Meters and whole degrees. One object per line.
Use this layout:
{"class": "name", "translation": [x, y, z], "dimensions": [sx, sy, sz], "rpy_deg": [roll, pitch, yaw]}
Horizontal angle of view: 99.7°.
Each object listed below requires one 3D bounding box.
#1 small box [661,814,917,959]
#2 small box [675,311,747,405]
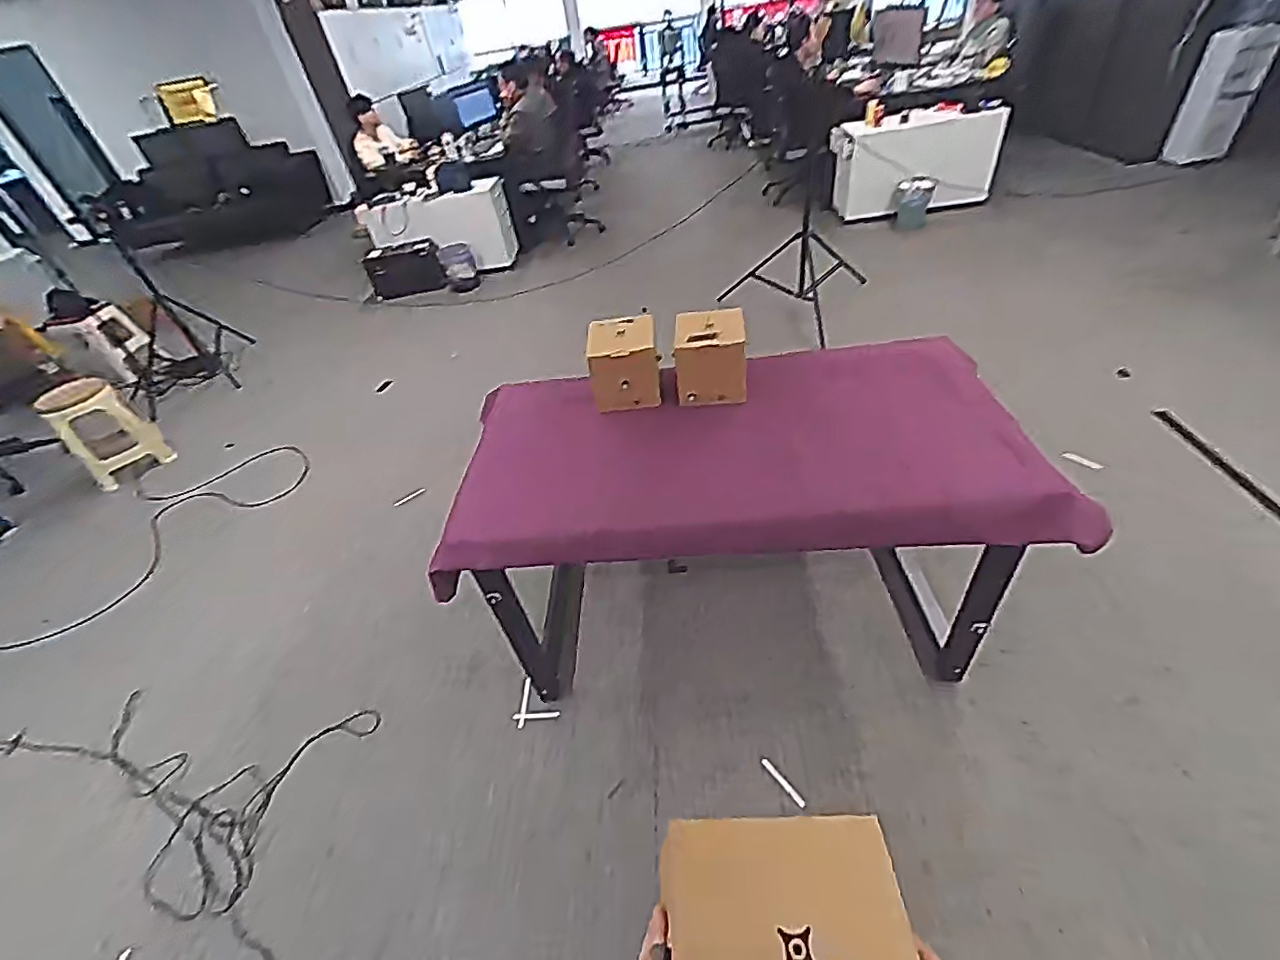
{"class": "small box", "translation": [0.104, 0.382, 0.415], "dimensions": [0.168, 0.176, 0.179], "rpy_deg": [-1, 43, -1]}
{"class": "small box", "translation": [0.180, -0.300, 1.354], "dimensions": [0.168, 0.176, 0.179], "rpy_deg": [-2, 42, 9]}
